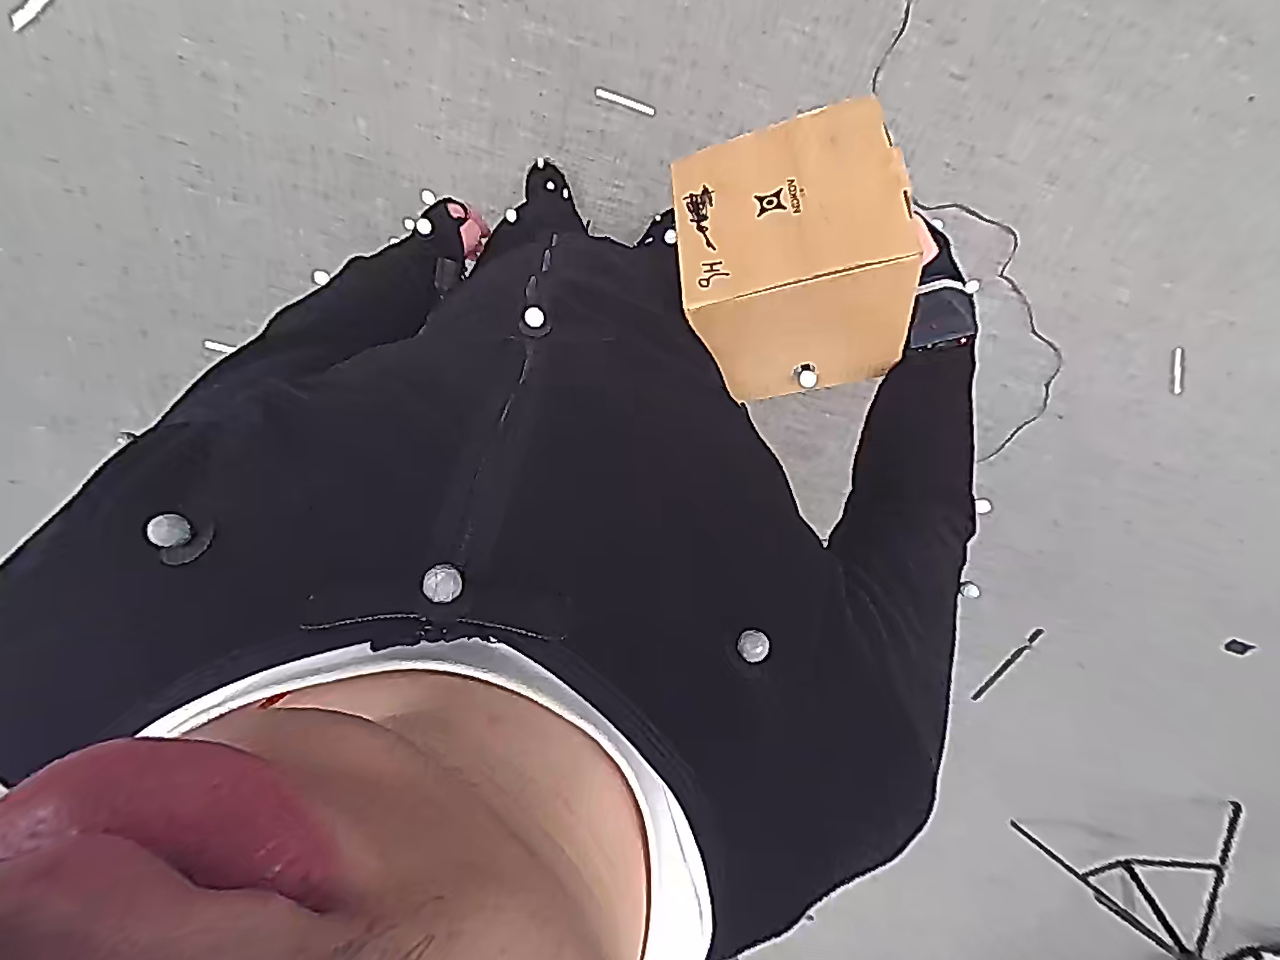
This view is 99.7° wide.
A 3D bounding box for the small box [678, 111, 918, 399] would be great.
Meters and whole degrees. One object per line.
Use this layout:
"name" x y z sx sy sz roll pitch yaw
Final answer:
"small box" 0.144 -0.198 0.522 0.179 0.168 0.176 -9 157 15
